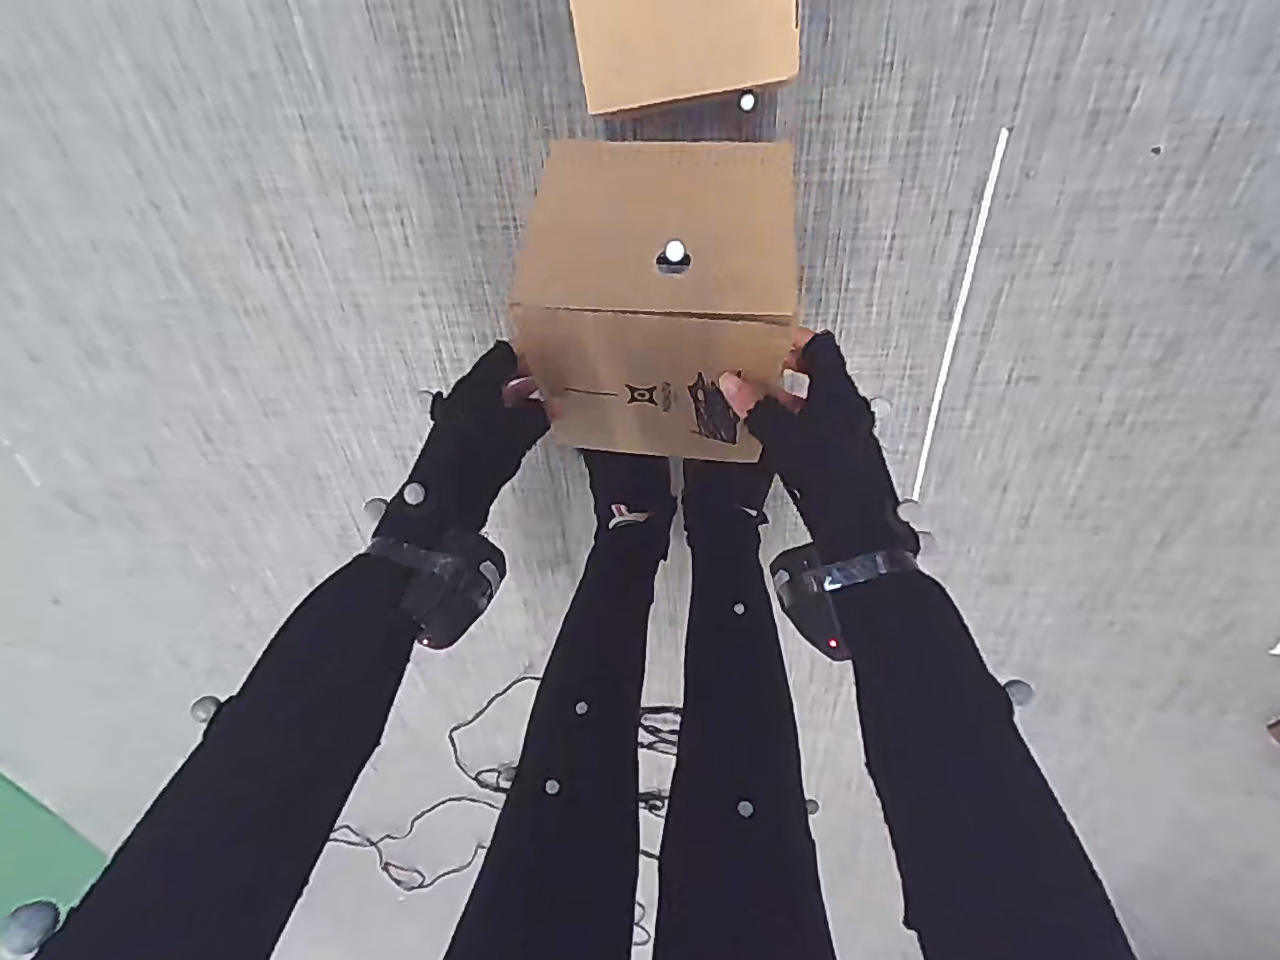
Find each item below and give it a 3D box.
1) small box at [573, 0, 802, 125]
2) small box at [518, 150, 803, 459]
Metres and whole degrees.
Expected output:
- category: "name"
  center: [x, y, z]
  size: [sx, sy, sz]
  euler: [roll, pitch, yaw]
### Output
- category: "small box"
  center: [0.041, -0.422, 0.473]
  size: [0.179, 0.176, 0.168]
  euler: [-4, 121, 9]
- category: "small box"
  center: [0.021, -0.133, 0.428]
  size: [0.179, 0.176, 0.168]
  euler: [4, 152, 5]
